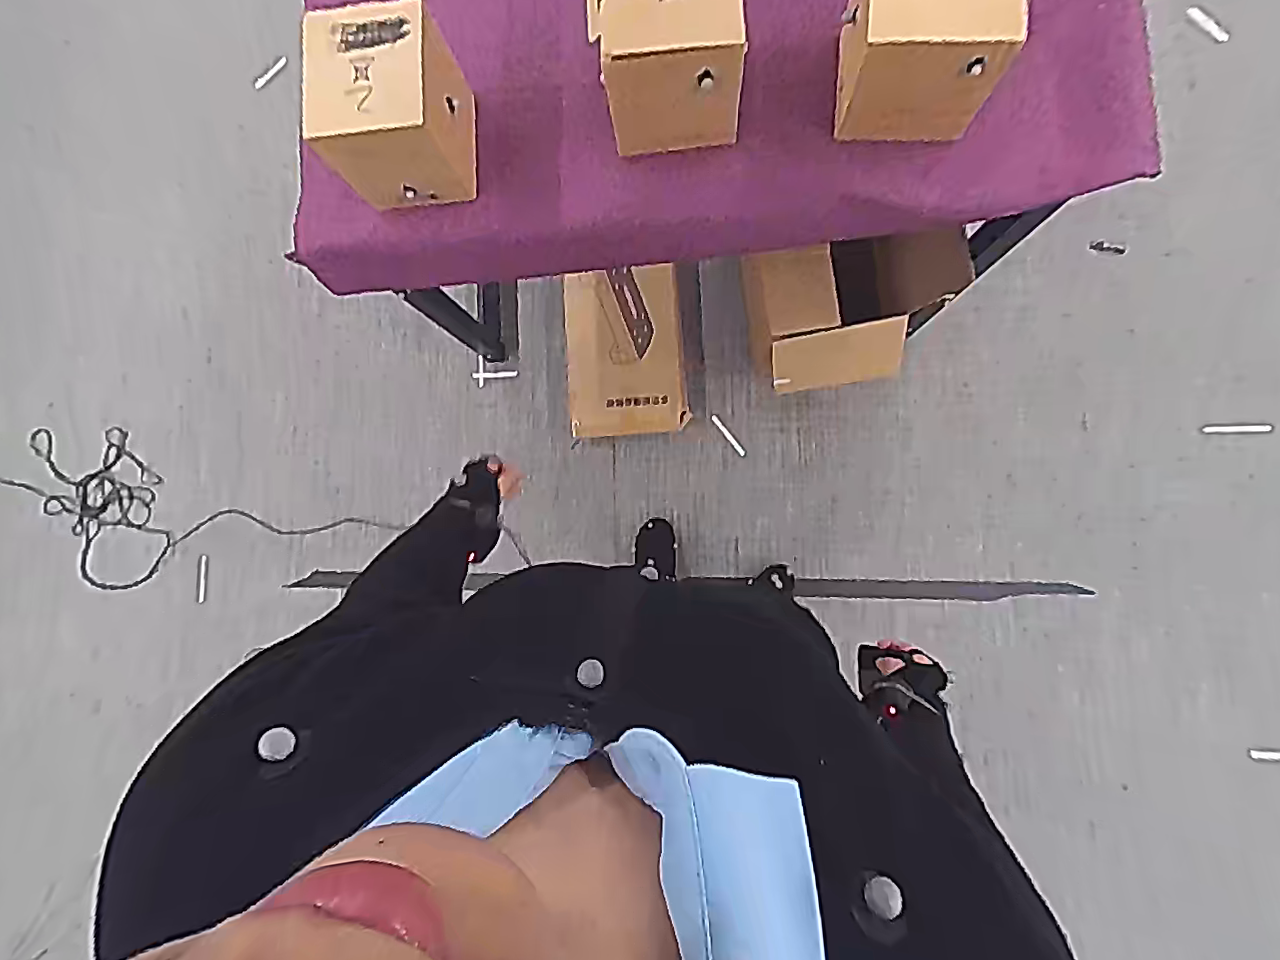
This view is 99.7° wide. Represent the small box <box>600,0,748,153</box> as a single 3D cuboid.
[{"bbox_3d":[0.045,-0.577,0.727,0.179,0.176,0.168,-3,84,6],"label":"small box"}]

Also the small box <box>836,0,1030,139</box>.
[{"bbox_3d":[0.362,-0.571,0.695,0.179,0.176,0.168,4,87,6],"label":"small box"}]
